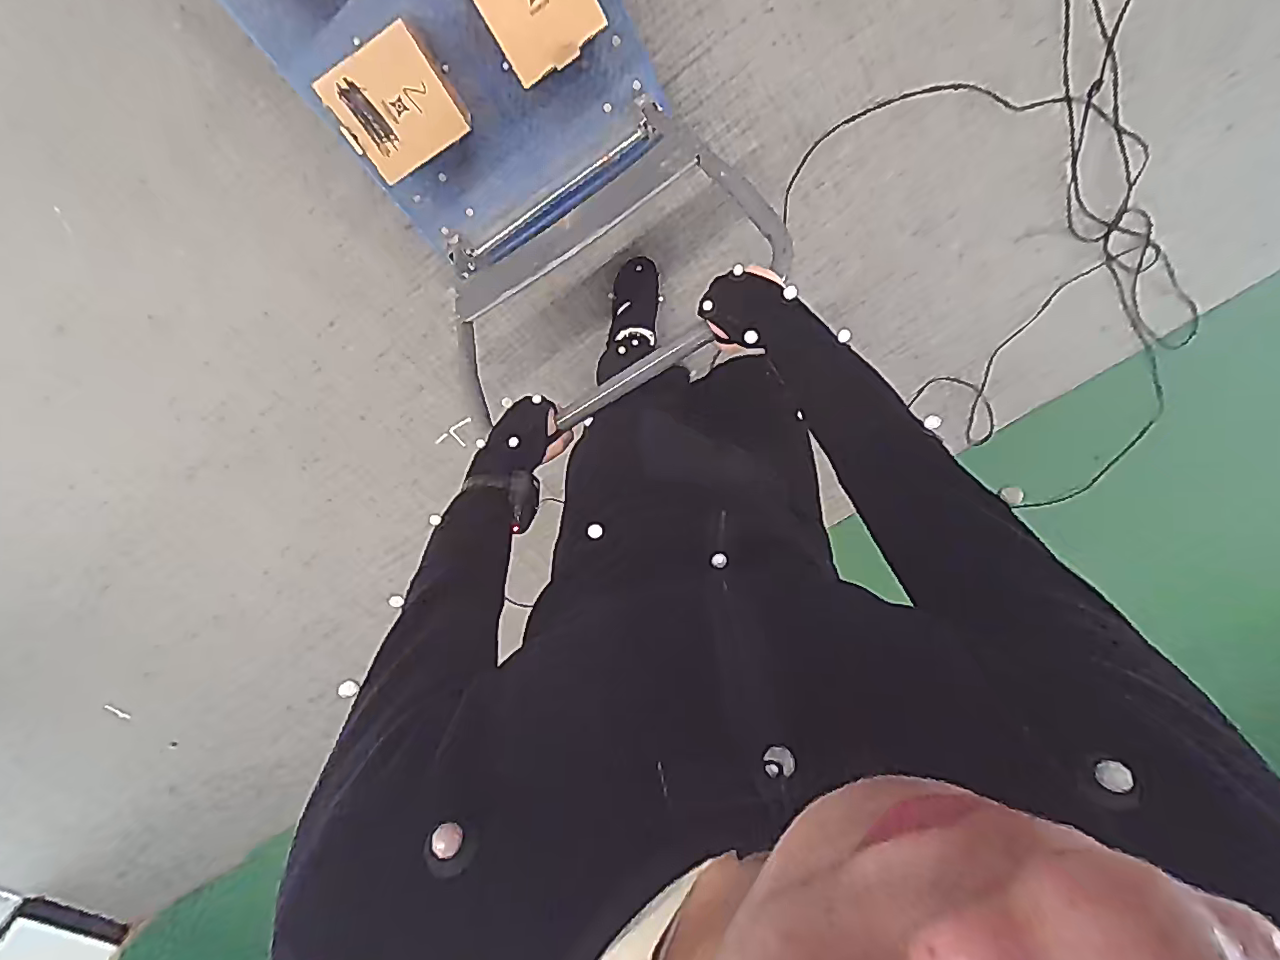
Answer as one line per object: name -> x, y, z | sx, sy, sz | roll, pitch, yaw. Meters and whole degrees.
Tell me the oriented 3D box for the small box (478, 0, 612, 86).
small box -> -0.171, -0.790, 0.878 | 0.168, 0.176, 0.179 | -31, 134, 12
